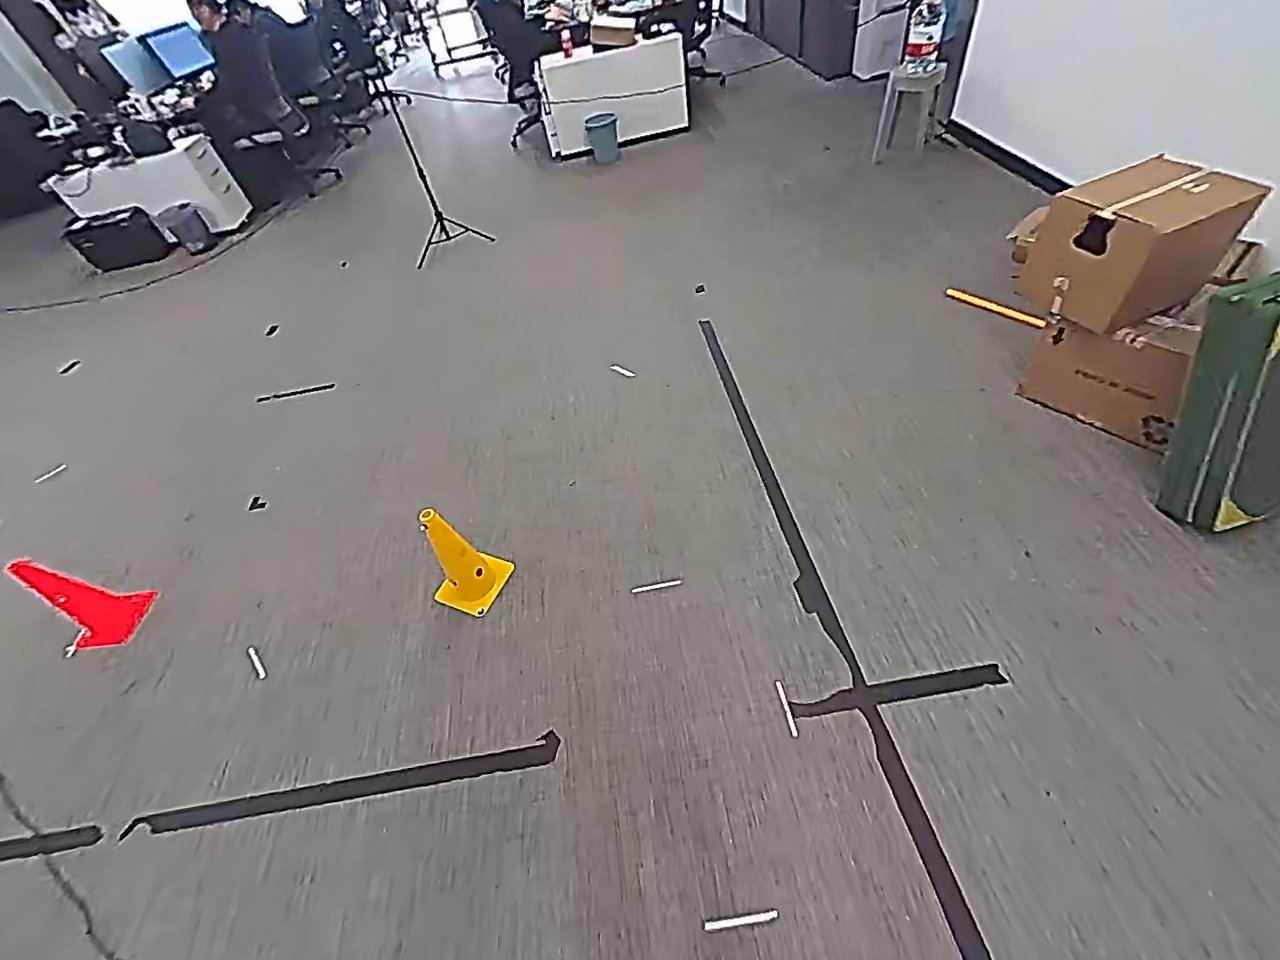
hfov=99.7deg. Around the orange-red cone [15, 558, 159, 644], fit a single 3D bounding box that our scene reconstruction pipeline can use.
[{"bbox_3d":[-1.831,0.363,1.755,0.199,0.360,0.198,-5,49,6],"label":"orange-red cone"}]
